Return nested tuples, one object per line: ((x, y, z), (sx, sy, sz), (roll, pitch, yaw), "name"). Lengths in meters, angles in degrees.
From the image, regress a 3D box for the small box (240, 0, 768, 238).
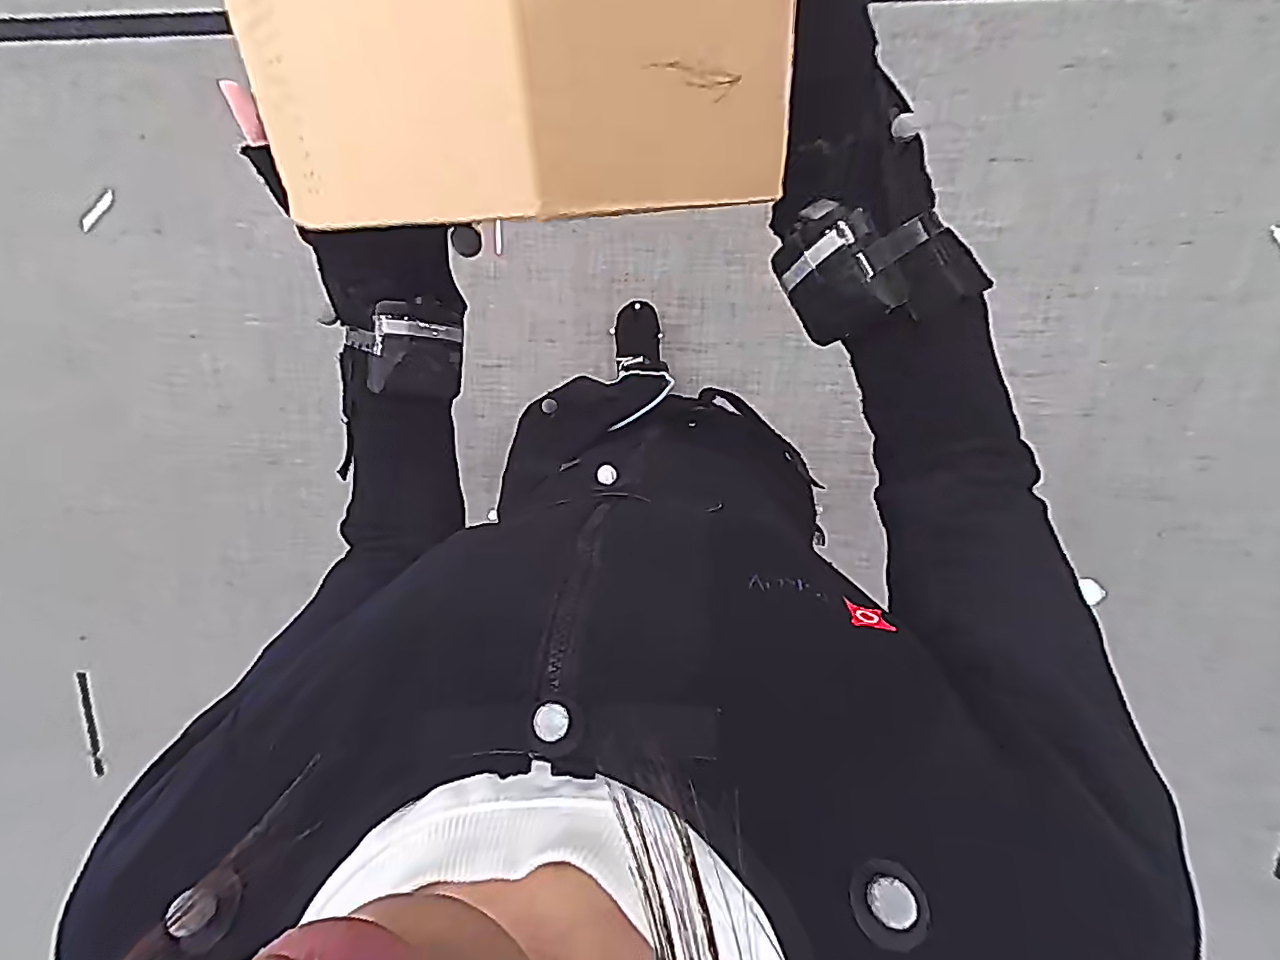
((-0.057, -0.209, 0.236), (0.176, 0.168, 0.179), (17, 123, 35), "small box")
